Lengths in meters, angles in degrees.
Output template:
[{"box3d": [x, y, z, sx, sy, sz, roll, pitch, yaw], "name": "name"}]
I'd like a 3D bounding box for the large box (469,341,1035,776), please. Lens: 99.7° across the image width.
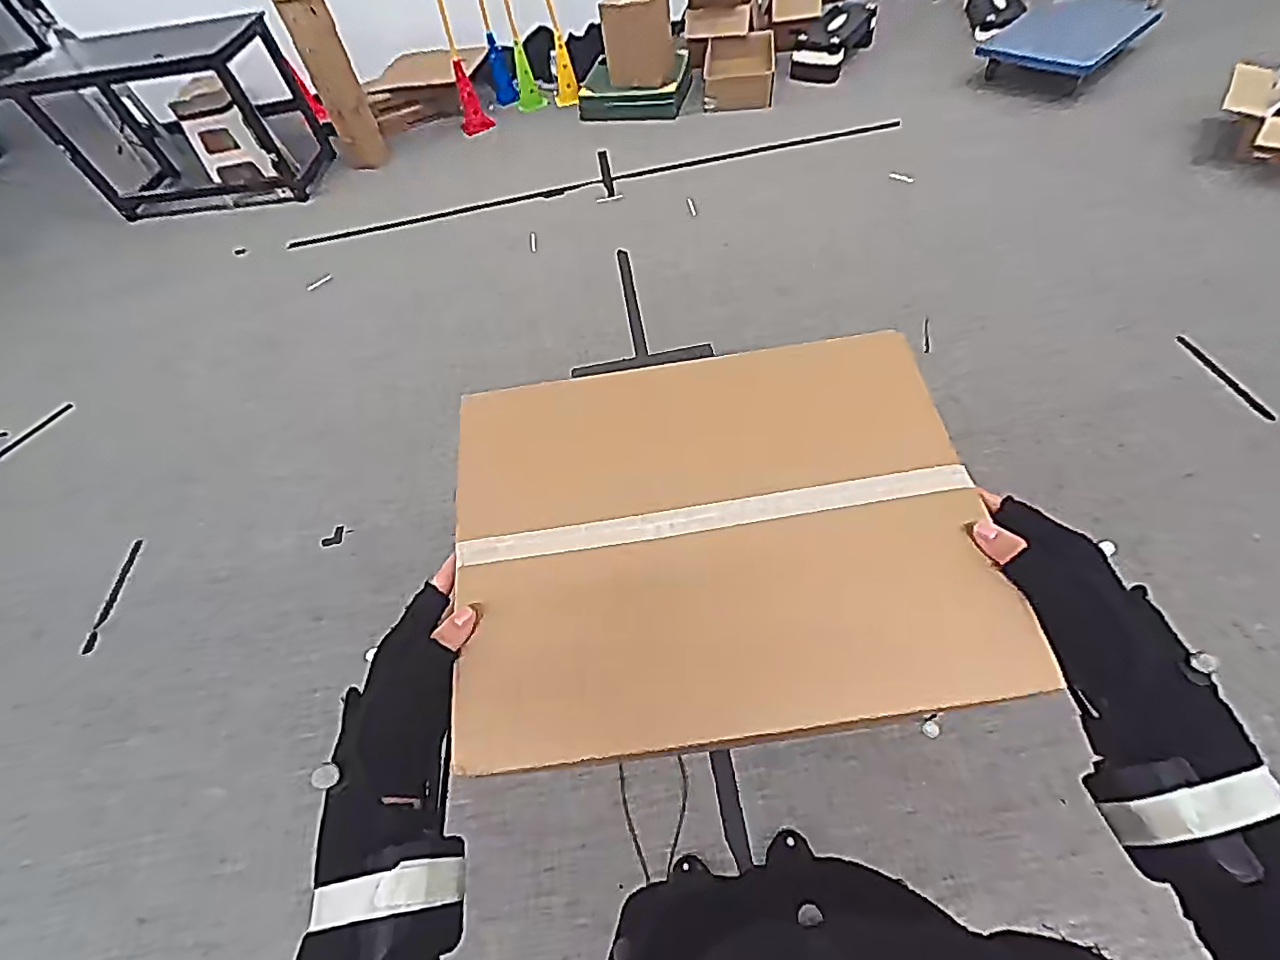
[{"box3d": [0.071, 0.102, 0.570, 0.408, 0.320, 0.320, -9, 62, 1], "name": "large box"}]
